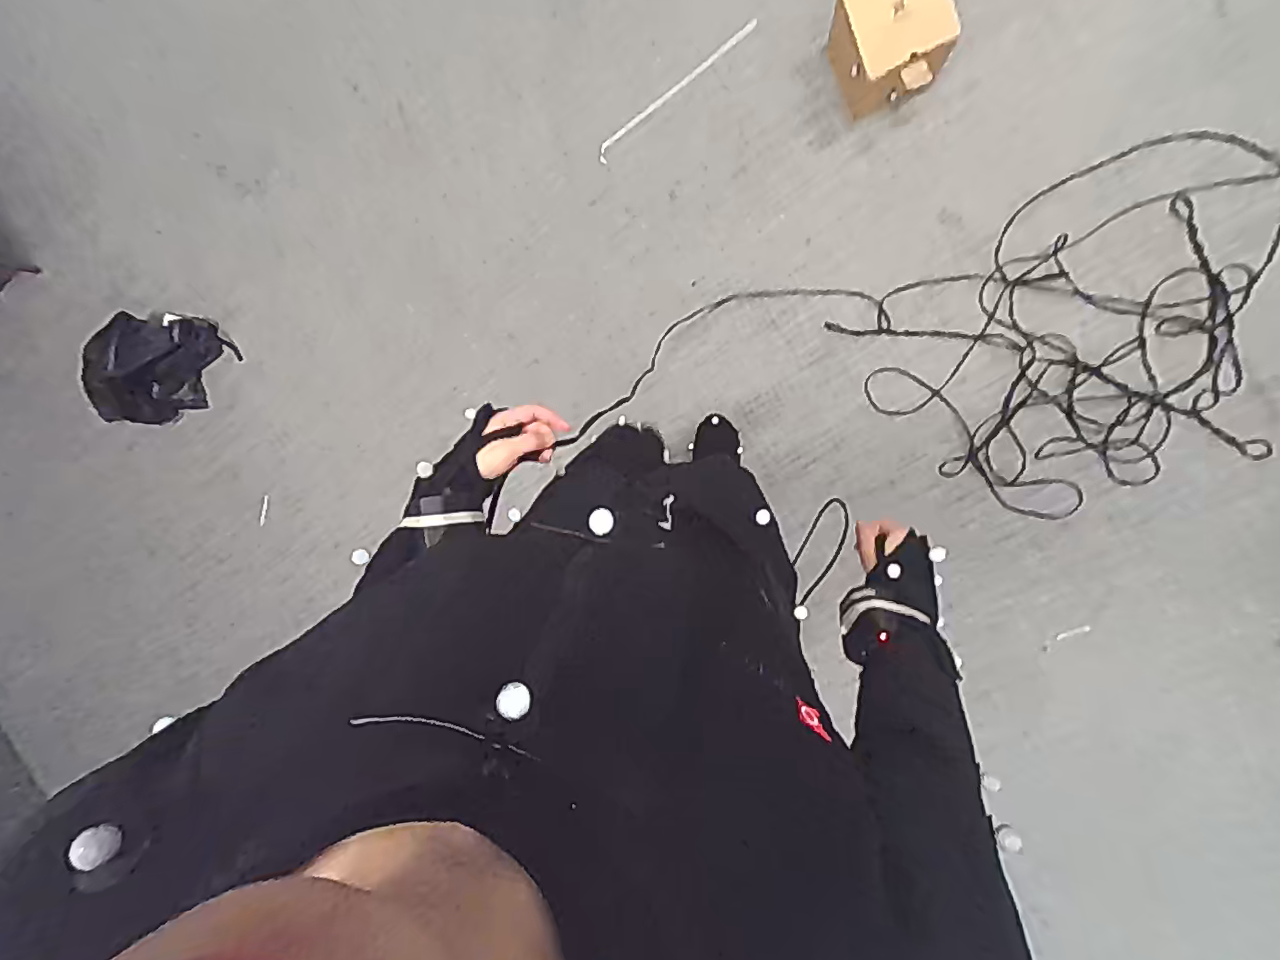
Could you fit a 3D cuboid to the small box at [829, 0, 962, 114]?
[{"bbox_3d":[0.479,-0.862,1.042,0.168,0.176,0.179,-21,96,13],"label":"small box"}]
